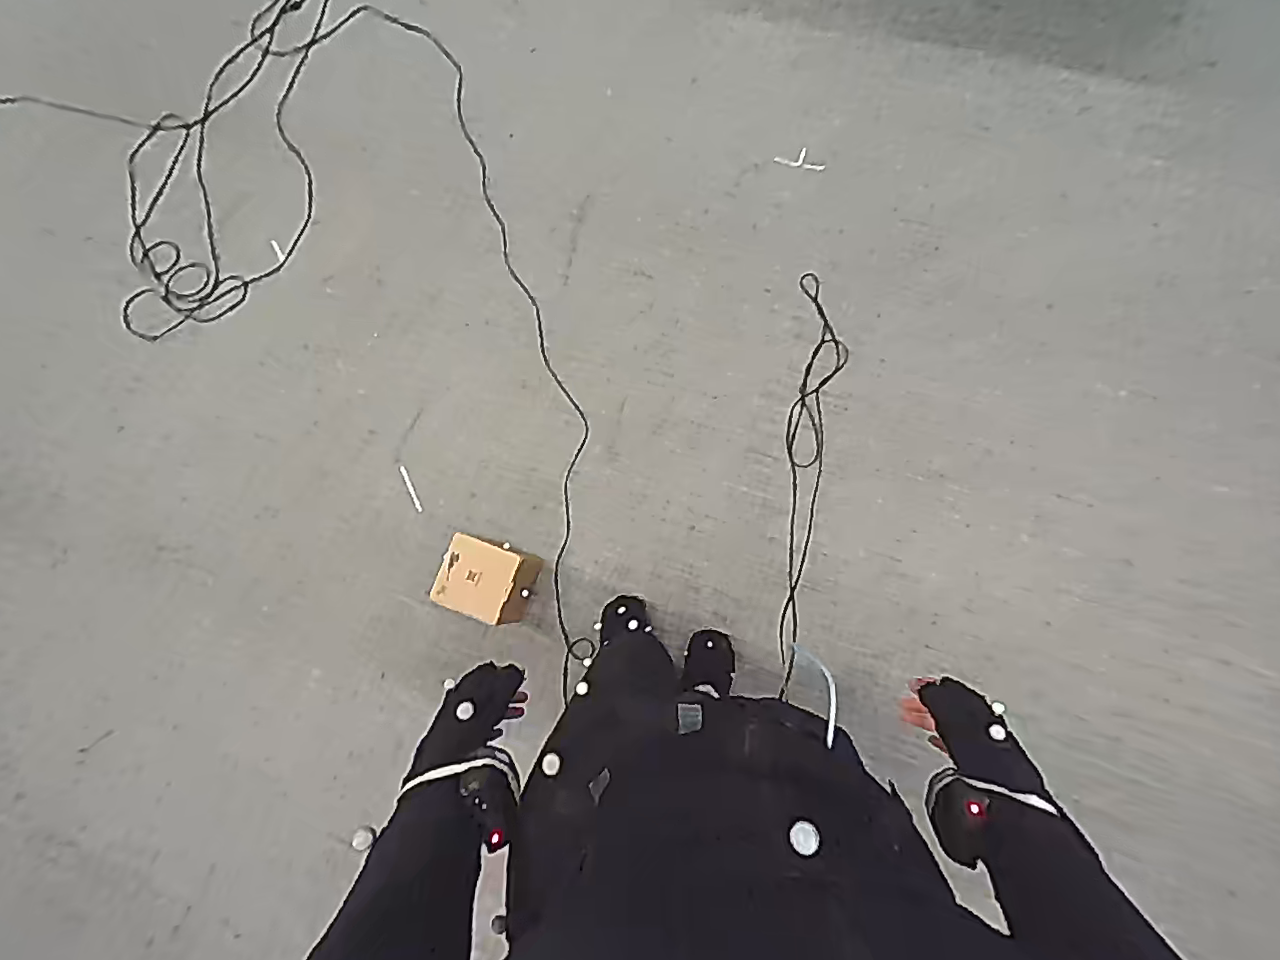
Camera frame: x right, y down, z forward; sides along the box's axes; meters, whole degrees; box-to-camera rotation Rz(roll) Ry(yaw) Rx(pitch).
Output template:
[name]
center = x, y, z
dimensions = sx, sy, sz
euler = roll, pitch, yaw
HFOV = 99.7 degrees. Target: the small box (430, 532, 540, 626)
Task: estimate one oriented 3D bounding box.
[small box]
center = -0.362, 0.236, 1.304
dimensions = 0.179, 0.176, 0.168
euler = 20, 82, 9
